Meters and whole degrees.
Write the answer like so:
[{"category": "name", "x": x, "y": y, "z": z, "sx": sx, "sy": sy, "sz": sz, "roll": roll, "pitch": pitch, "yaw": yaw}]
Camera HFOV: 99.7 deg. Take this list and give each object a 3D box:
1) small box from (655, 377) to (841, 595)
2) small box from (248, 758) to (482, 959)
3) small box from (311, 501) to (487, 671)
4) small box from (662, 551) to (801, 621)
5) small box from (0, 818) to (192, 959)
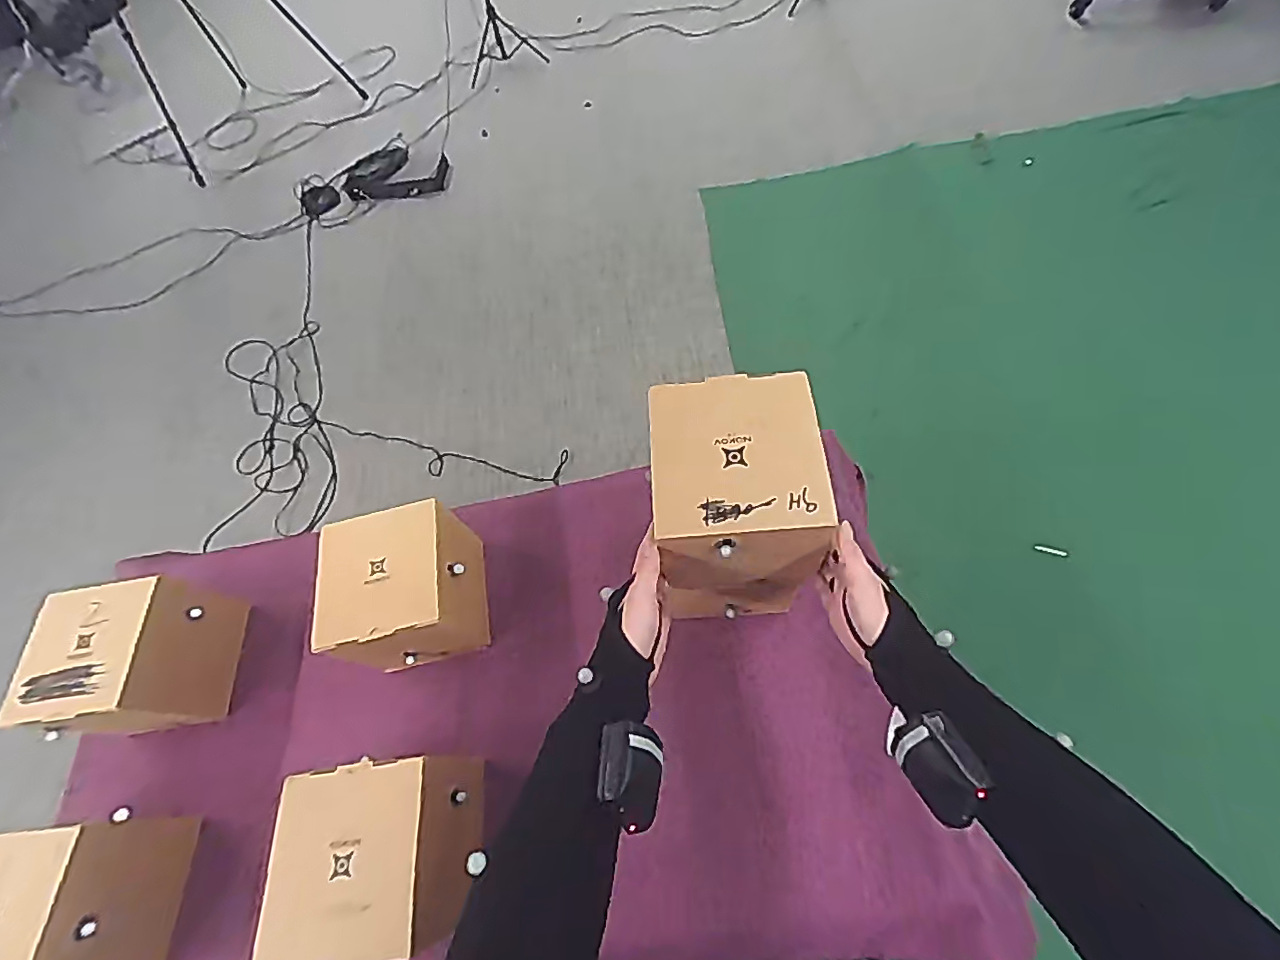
[{"category": "small box", "x": 0.105, "y": 0.014, "z": 0.589, "sx": 0.168, "sy": 0.176, "sz": 0.179, "roll": -5, "pitch": 61, "yaw": 7}, {"category": "small box", "x": -0.292, "y": 0.428, "z": 0.618, "sx": 0.168, "sy": 0.176, "sz": 0.179, "roll": -9, "pitch": 61, "yaw": 4}, {"category": "small box", "x": -0.328, "y": 0.156, "z": 0.767, "sx": 0.168, "sy": 0.176, "sz": 0.179, "roll": -13, "pitch": 62, "yaw": 1}, {"category": "small box", "x": 0.118, "y": 0.083, "z": 0.737, "sx": 0.168, "sy": 0.176, "sz": 0.179, "roll": -5, "pitch": 63, "yaw": 7}, {"category": "small box", "x": -0.683, "y": 0.507, "z": 0.630, "sx": 0.168, "sy": 0.176, "sz": 0.179, "roll": -7, "pitch": 60, "yaw": 4}]
